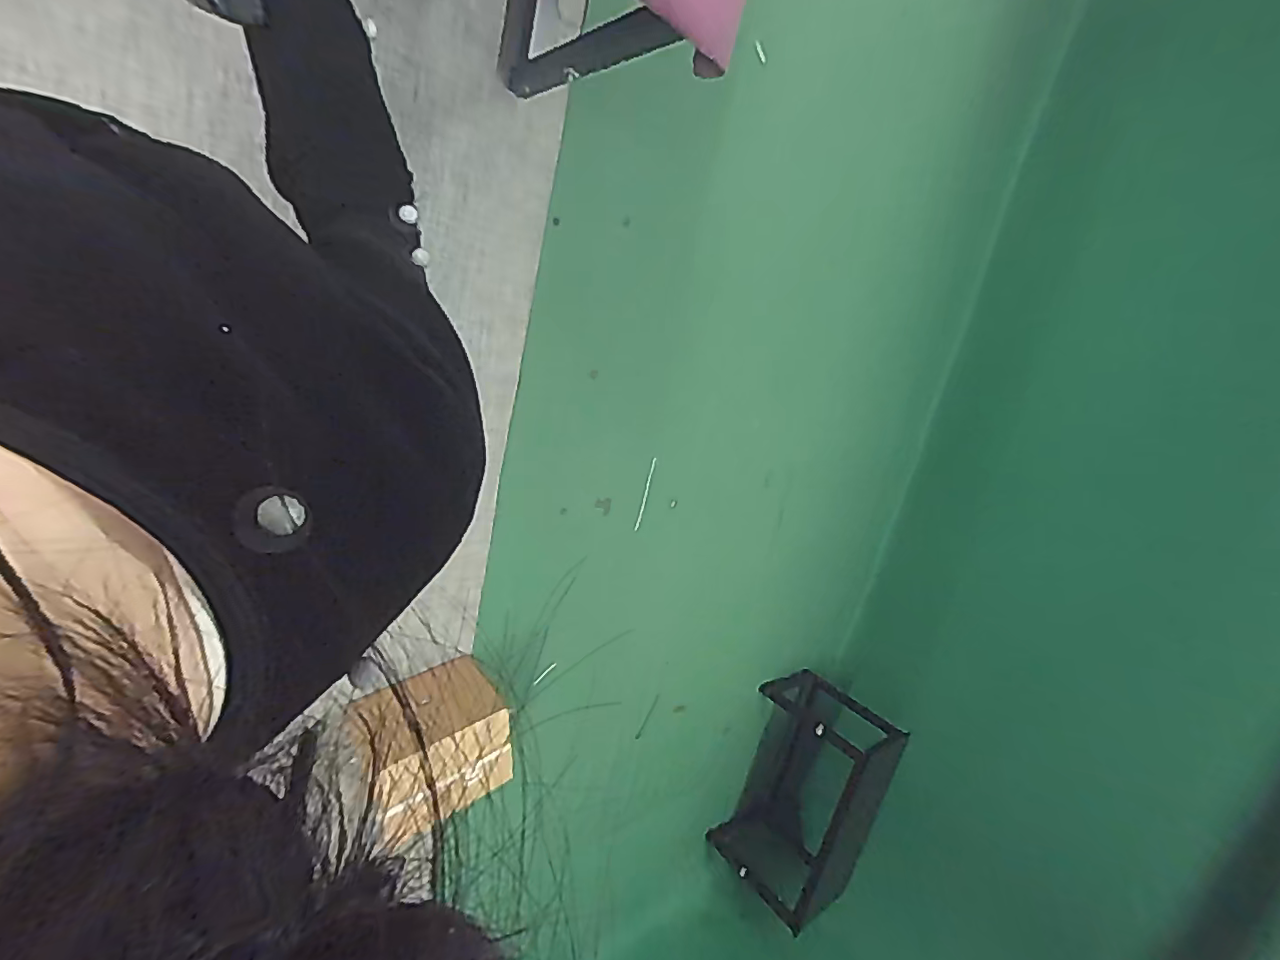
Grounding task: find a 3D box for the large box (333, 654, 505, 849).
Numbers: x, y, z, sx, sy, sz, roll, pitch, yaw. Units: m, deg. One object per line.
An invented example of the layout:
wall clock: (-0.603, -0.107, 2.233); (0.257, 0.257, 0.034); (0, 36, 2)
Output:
large box: (-0.687, 0.827, 1.708); (0.408, 0.320, 0.320); (-16, 120, -39)
